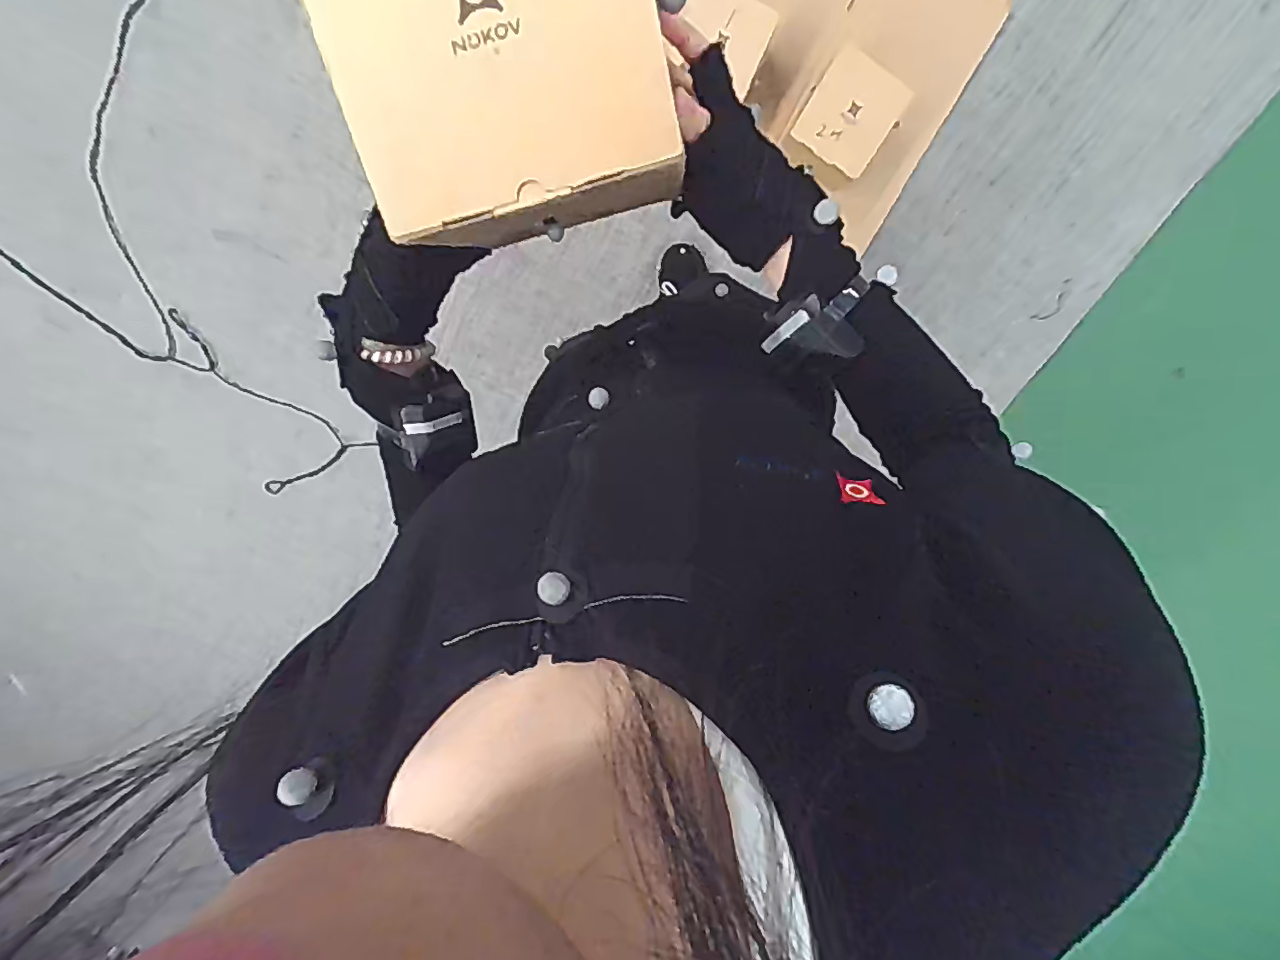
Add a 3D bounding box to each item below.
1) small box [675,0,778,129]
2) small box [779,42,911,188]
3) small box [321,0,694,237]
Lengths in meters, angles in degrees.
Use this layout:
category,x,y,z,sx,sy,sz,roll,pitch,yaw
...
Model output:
category,x,y,z,sx,sy,sz,roll,pitch,yaw
small box,0.151,-0.843,1.083,0.168,0.176,0.179,24,111,-6
small box,0.408,-0.736,1.114,0.168,0.176,0.179,30,112,-8
small box,-0.066,-0.259,0.329,0.168,0.176,0.179,-11,113,8
